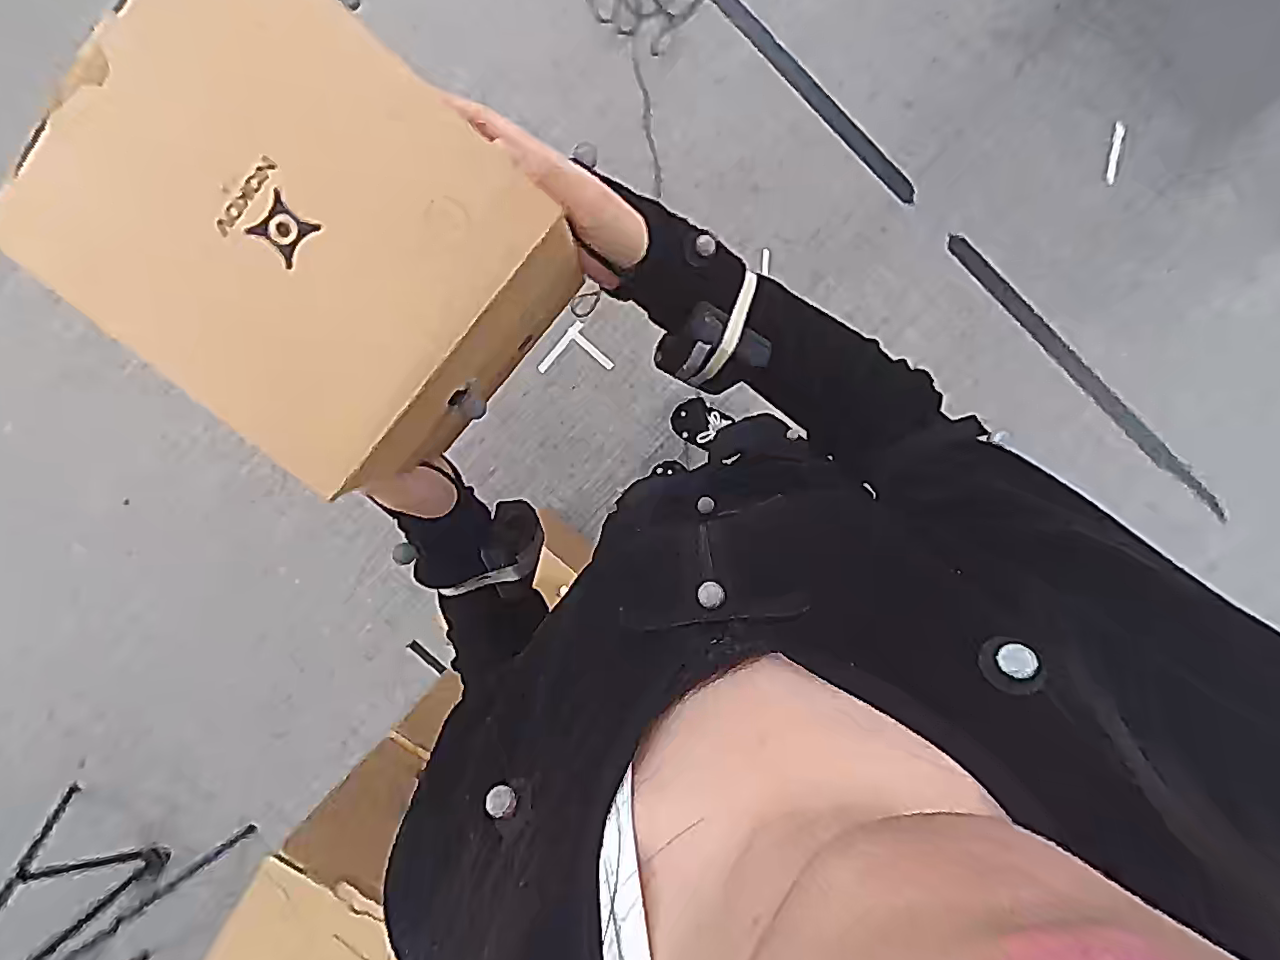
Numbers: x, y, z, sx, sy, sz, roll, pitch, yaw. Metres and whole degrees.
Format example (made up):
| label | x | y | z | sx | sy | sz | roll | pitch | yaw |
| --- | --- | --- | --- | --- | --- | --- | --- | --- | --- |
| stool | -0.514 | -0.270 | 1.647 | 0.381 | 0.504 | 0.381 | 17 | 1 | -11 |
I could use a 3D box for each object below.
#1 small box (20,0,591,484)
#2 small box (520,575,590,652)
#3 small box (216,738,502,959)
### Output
| label | x | y | z | sx | sy | sz | roll | pitch | yaw |
| --- | --- | --- | --- | --- | --- | --- | --- | --- | --- |
| small box | -0.143 | -0.127 | 0.306 | 0.179 | 0.176 | 0.168 | 42 | 97 | -8 |
| small box | -0.225 | 0.337 | 1.174 | 0.168 | 0.176 | 0.179 | 41 | 95 | -2 |
| small box | -0.254 | 0.394 | 0.523 | 0.168 | 0.176 | 0.179 | 32 | 95 | 0 |
